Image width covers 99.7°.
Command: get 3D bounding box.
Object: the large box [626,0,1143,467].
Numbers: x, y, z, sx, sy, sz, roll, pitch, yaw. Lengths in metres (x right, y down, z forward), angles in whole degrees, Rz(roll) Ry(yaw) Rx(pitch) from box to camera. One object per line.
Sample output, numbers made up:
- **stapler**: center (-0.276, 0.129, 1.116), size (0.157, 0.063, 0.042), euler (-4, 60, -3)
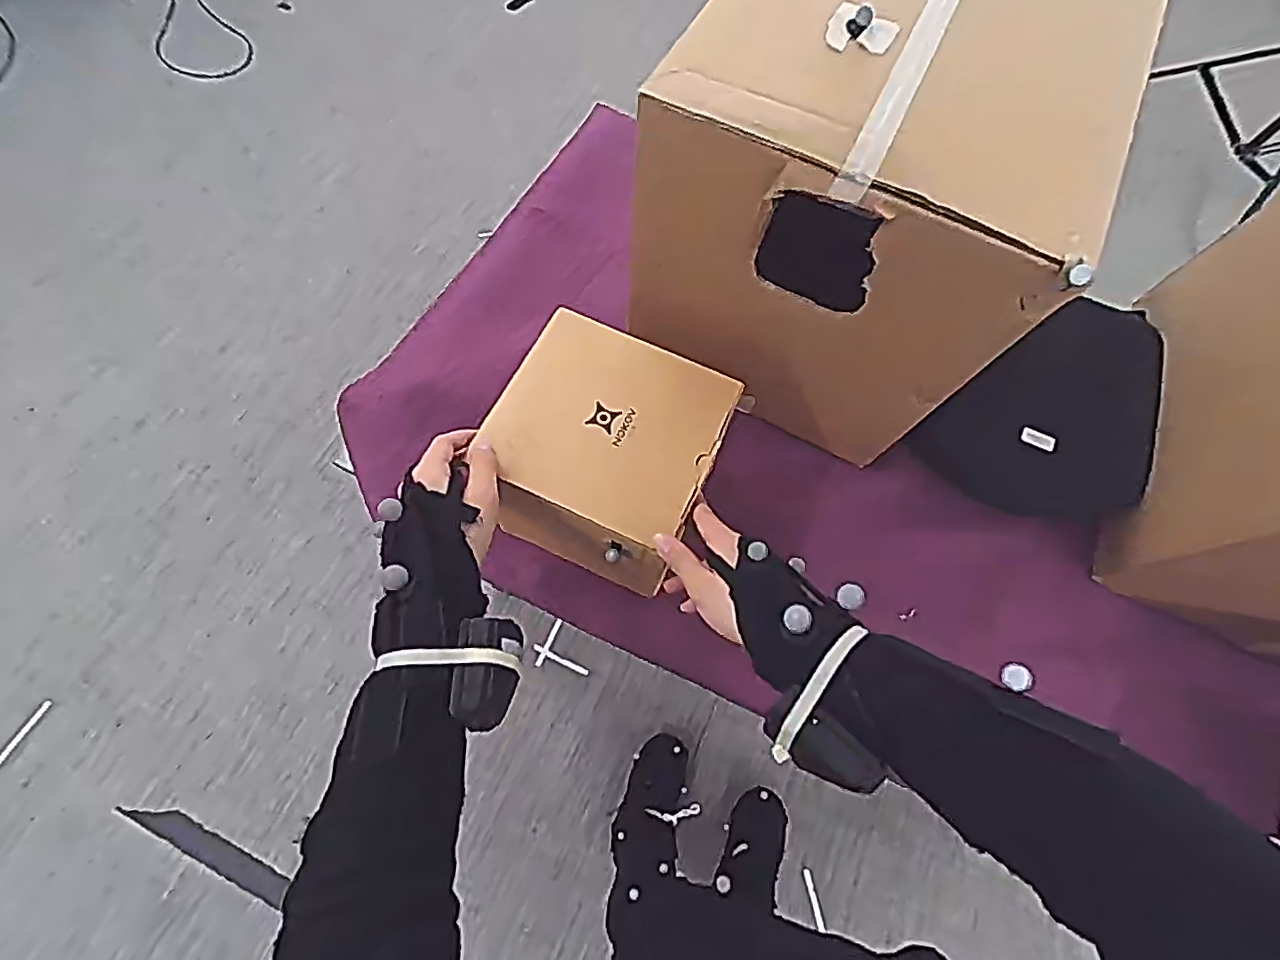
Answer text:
- **large box**: center (0.209, -0.289, 0.560), size (0.320, 0.320, 0.408), euler (26, 72, 7)
